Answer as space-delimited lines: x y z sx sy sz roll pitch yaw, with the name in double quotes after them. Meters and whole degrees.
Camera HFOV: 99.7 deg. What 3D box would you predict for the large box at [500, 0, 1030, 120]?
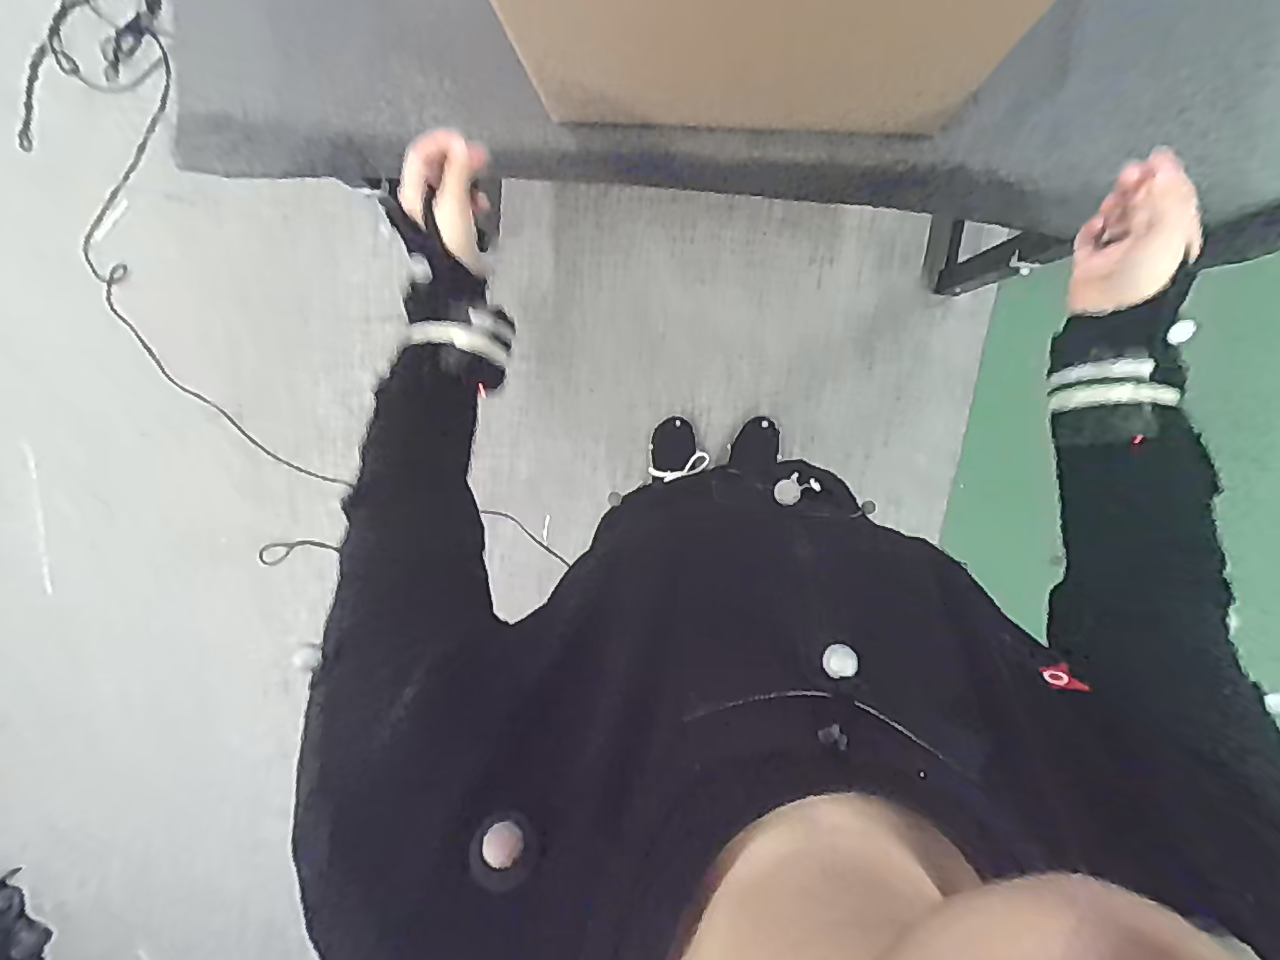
0.095 -0.506 0.399 0.408 0.320 0.320 4 99 4 "large box"
